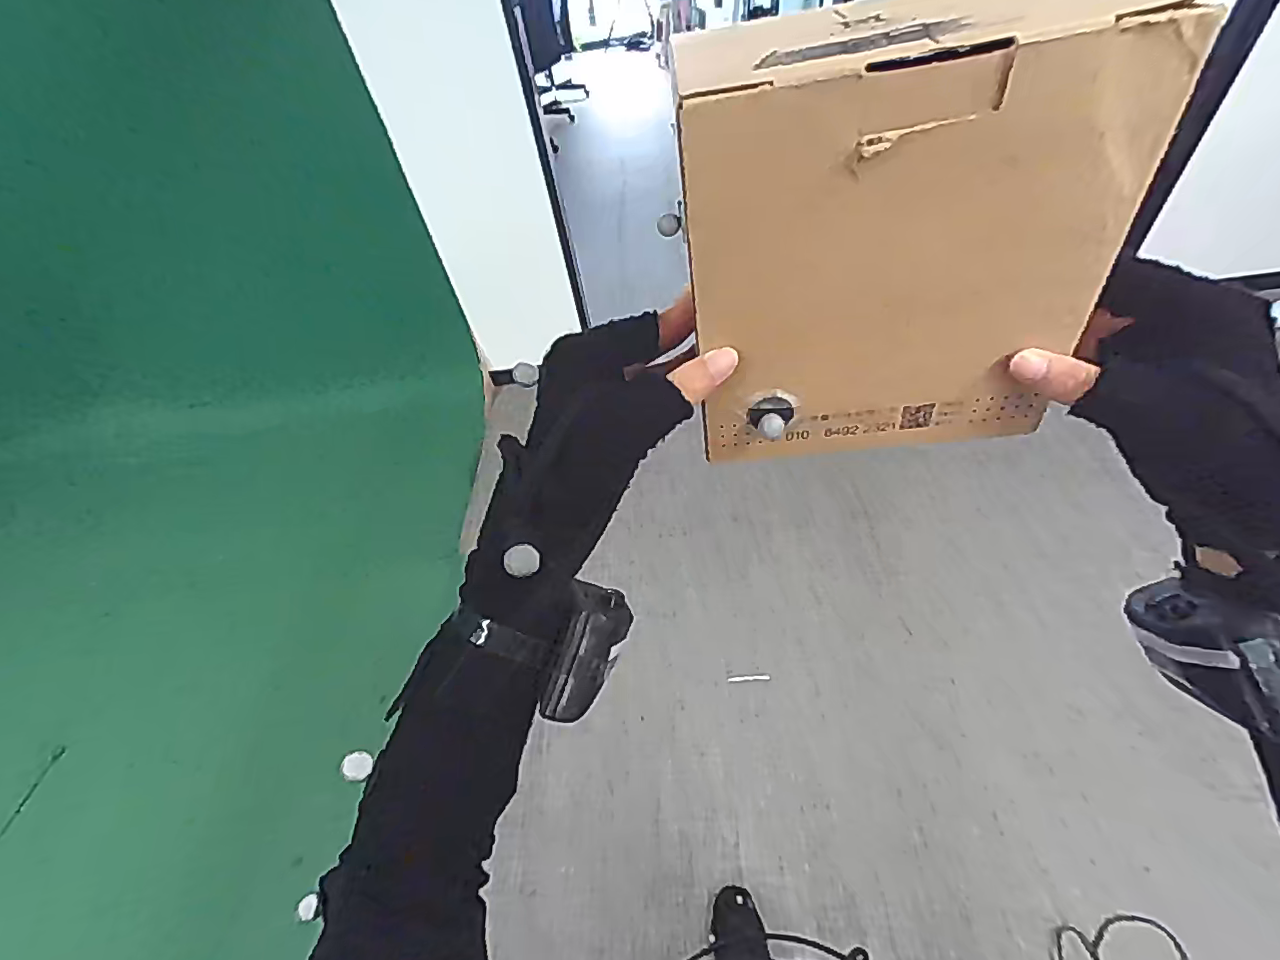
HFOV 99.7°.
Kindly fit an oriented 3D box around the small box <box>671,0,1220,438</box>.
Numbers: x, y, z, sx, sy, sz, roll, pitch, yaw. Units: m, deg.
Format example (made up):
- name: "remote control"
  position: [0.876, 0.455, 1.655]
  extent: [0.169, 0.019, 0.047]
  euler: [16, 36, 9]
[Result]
- name: "small box"
  position: [0.107, -0.134, 0.283]
  extent: [0.168, 0.176, 0.179]
  euler: [-5, 44, 7]
